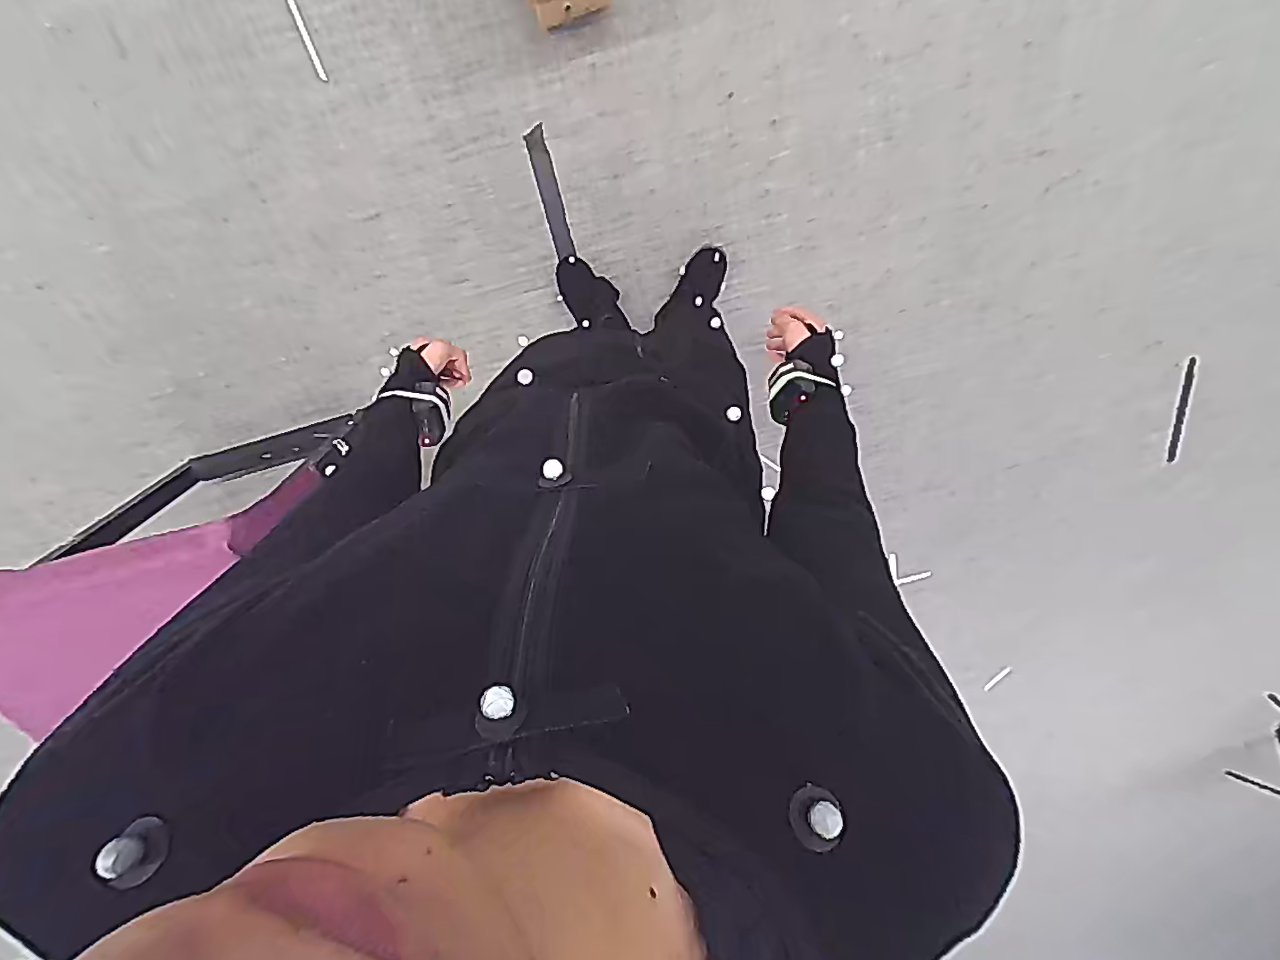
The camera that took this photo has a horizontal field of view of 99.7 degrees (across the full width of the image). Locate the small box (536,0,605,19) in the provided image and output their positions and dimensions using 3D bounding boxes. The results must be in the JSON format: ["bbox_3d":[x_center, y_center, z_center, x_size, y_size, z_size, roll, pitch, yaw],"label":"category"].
[{"bbox_3d":[-0.152,-1.055,1.069,0.168,0.176,0.179,-18,118,4],"label":"small box"}]

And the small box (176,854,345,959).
[{"bbox_3d":[-0.701,0.844,1.012,0.179,0.176,0.168,-20,119,5],"label":"small box"}]
